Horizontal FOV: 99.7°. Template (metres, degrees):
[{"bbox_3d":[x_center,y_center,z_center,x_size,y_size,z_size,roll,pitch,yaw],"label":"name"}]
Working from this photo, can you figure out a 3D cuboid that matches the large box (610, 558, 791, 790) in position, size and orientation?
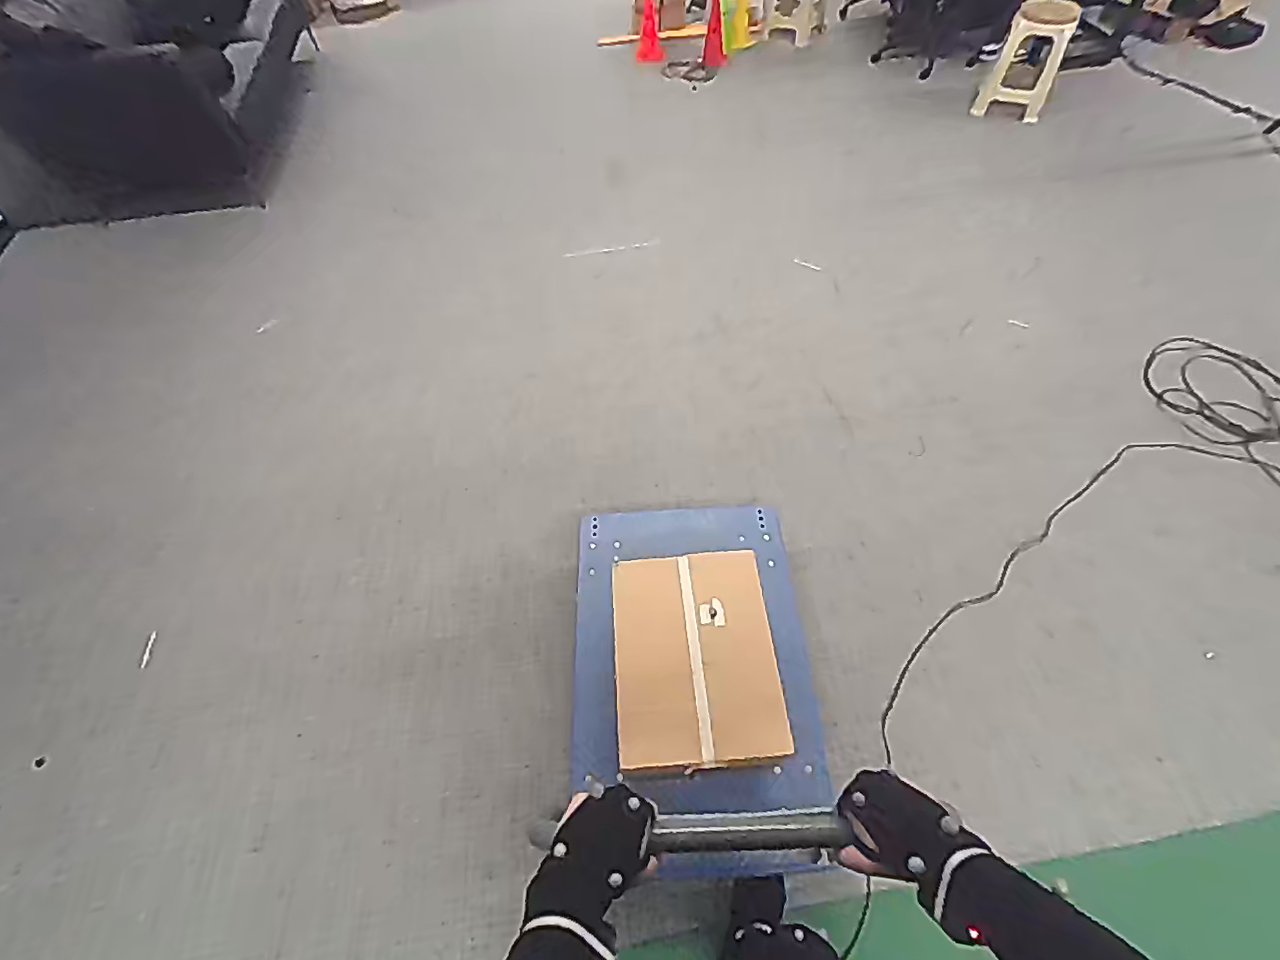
[{"bbox_3d":[0.112,0.431,1.196,0.320,0.320,0.408,-5,56,0],"label":"large box"}]
